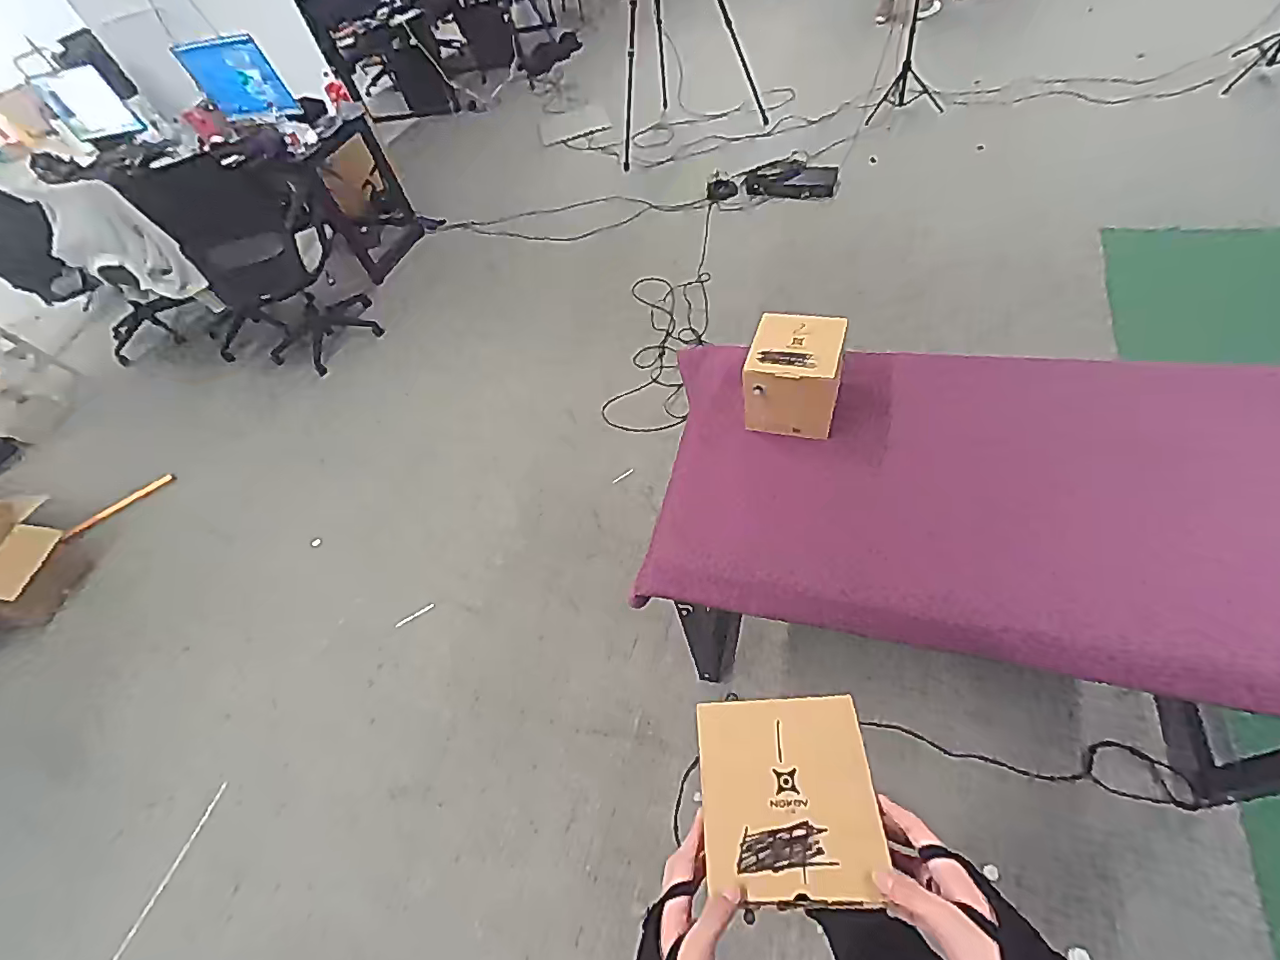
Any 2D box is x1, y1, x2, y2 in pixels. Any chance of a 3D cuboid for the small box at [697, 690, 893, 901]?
[{"bbox_3d":[0.154,0.344,0.586,0.168,0.176,0.179,-6,51,8],"label":"small box"}]
